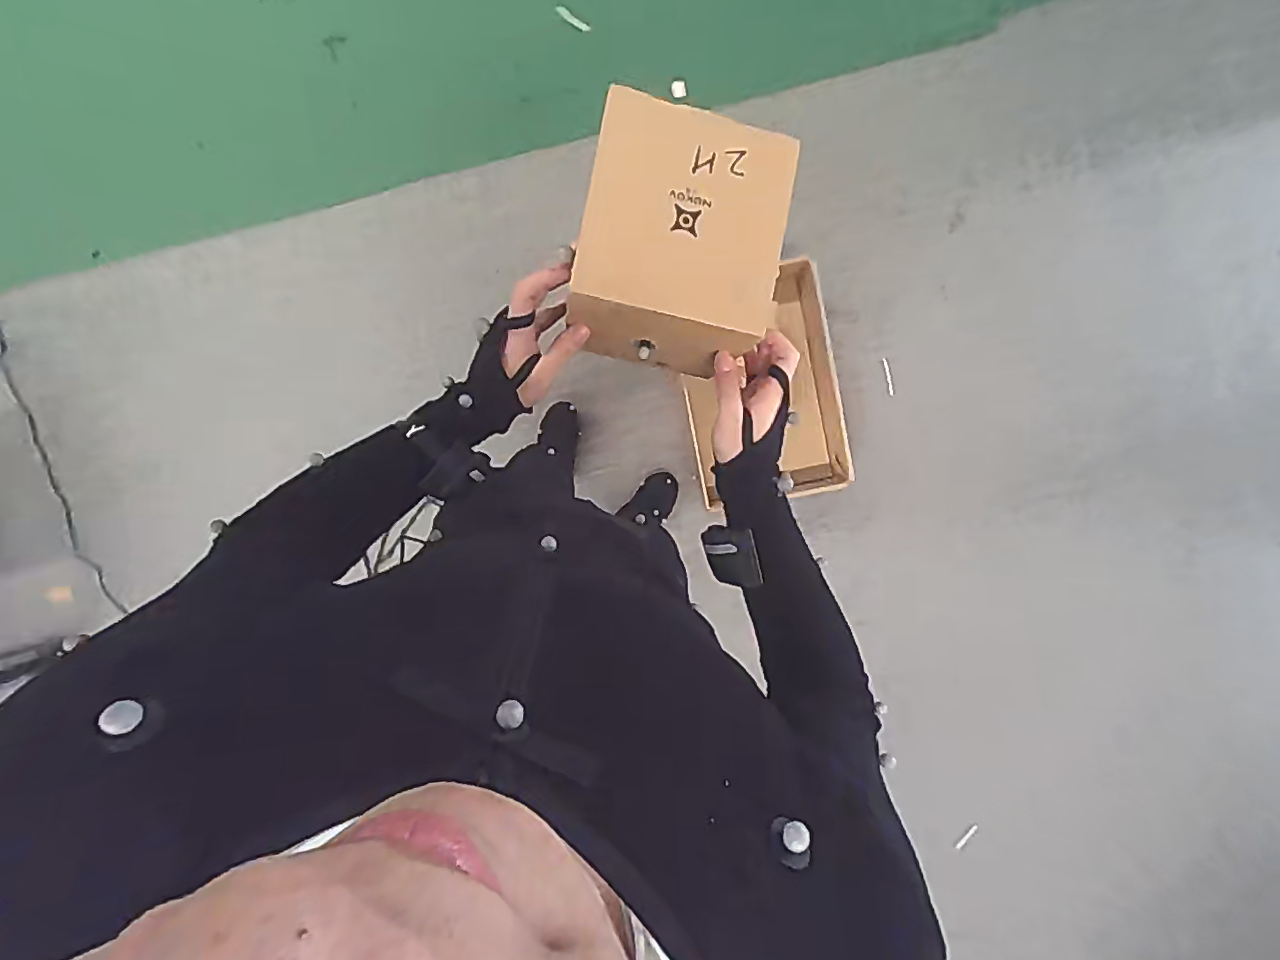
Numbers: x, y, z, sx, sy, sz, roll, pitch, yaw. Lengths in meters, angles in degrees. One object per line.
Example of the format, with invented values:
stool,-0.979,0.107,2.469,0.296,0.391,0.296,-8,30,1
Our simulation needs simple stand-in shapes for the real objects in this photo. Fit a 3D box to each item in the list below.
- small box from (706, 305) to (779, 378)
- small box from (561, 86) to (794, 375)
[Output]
small box,0.272,-0.371,1.468,0.179,0.176,0.168,0,93,1
small box,0.022,-0.211,0.513,0.168,0.176,0.179,11,86,-9
